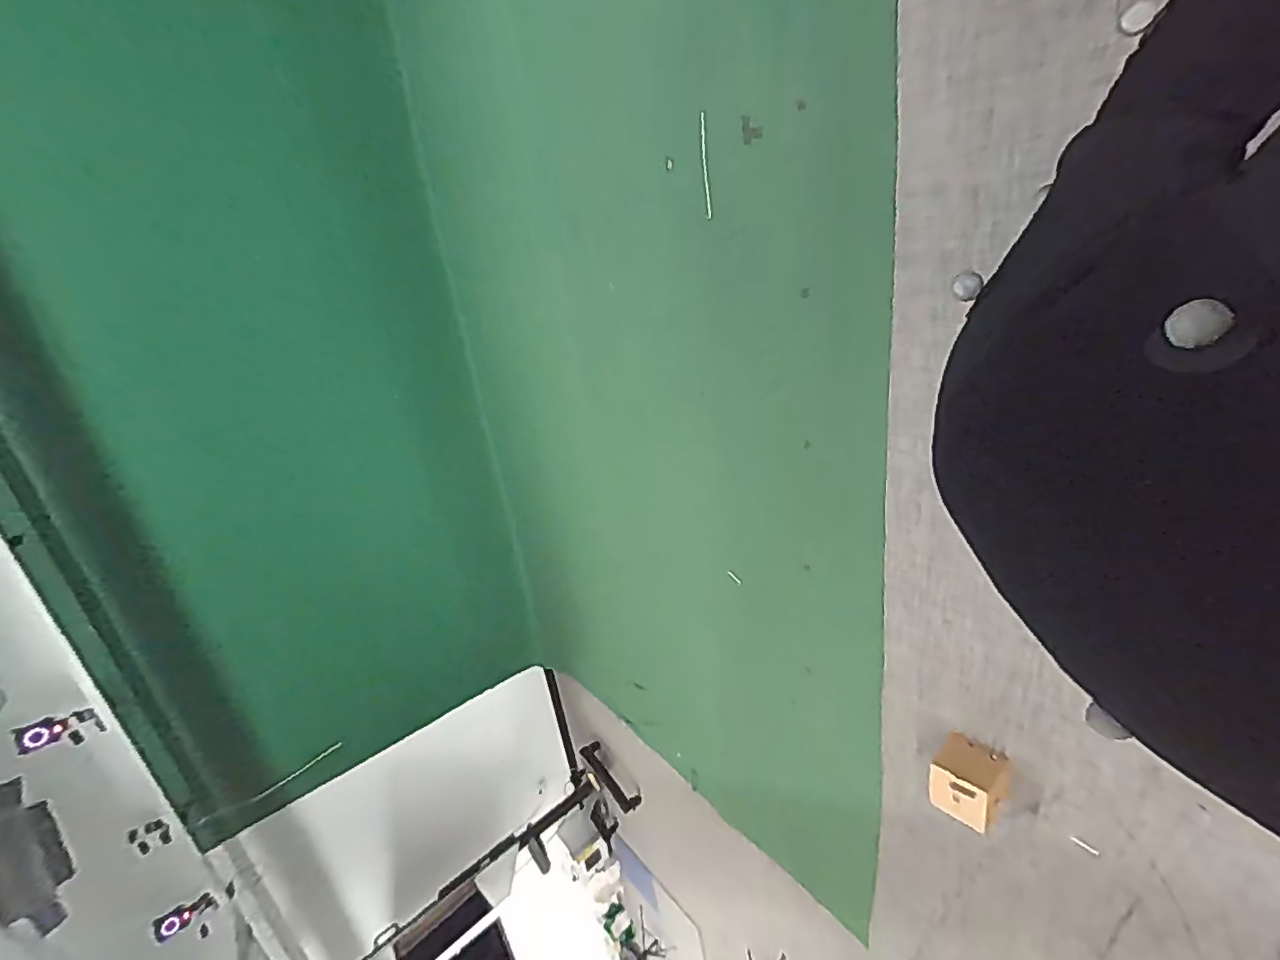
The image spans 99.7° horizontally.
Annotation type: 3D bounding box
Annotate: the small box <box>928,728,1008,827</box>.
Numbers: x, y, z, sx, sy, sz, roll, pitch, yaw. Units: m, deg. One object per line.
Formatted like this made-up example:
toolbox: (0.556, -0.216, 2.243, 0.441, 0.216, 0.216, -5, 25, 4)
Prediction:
small box: (1.035, 0.928, 1.707, 0.168, 0.176, 0.179, 16, 122, 51)
